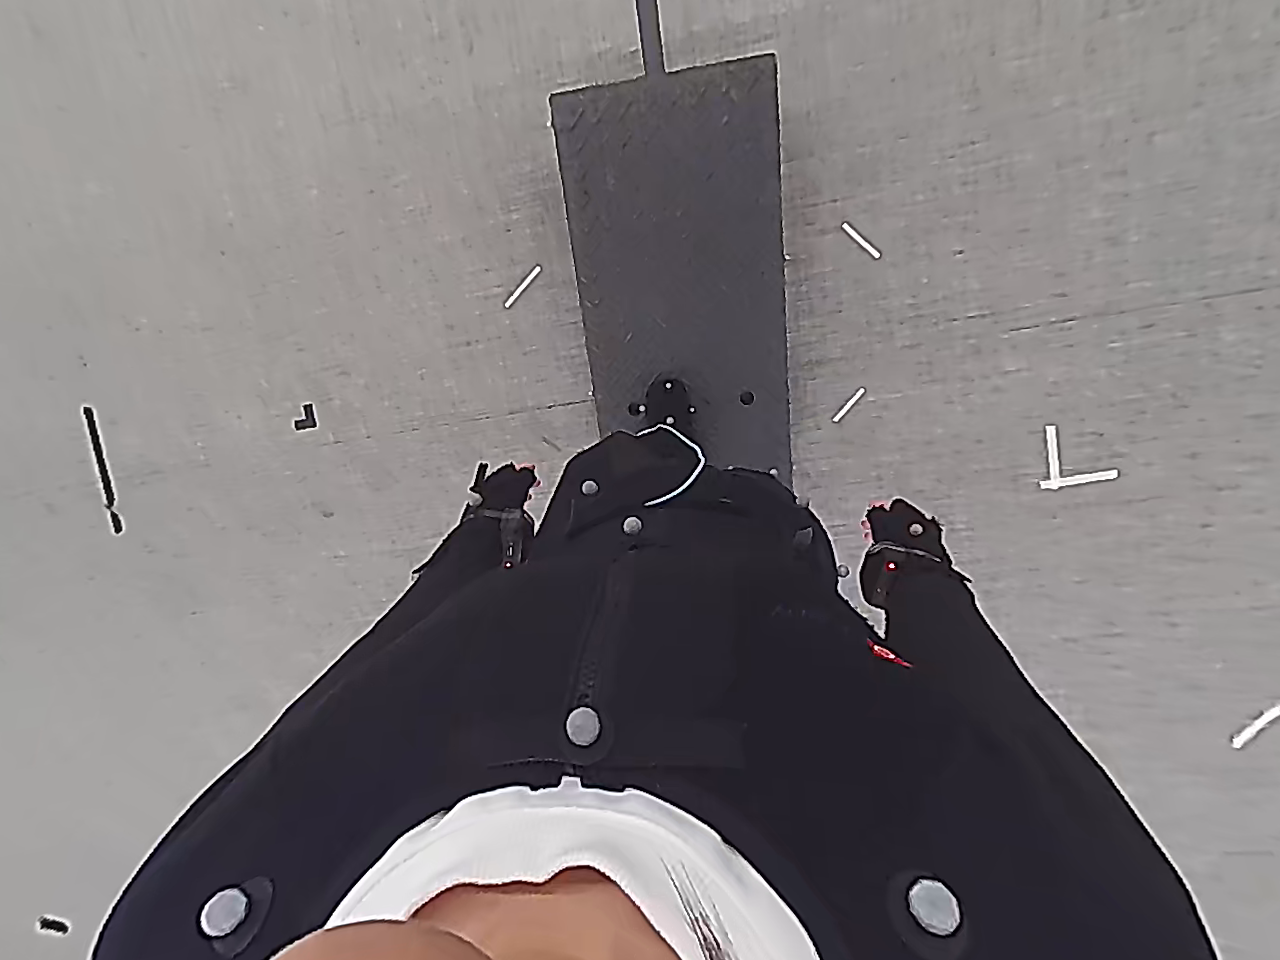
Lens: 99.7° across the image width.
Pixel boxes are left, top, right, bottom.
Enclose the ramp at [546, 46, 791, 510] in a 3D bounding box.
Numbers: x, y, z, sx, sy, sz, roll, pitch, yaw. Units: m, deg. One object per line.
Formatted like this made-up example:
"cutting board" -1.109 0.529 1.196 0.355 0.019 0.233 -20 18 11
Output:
"ramp" 0.101 -0.405 1.306 0.509 0.206 0.991 -7 99 7
